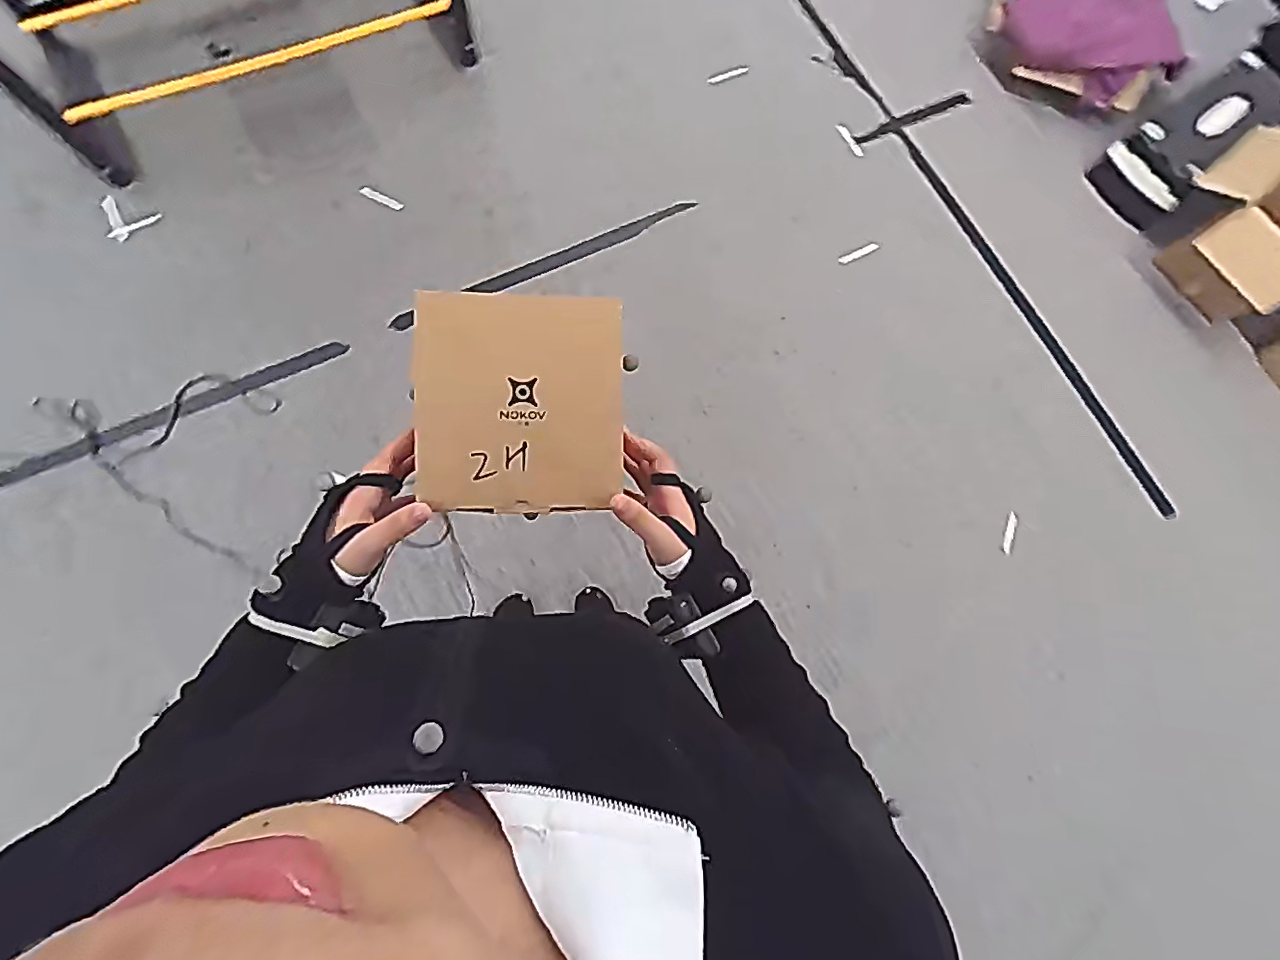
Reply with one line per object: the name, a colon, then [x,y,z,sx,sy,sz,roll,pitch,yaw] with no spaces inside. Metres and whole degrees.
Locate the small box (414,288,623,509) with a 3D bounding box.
small box: [-0.106,-0.064,0.512,0.168,0.176,0.179,-1,91,-7]
